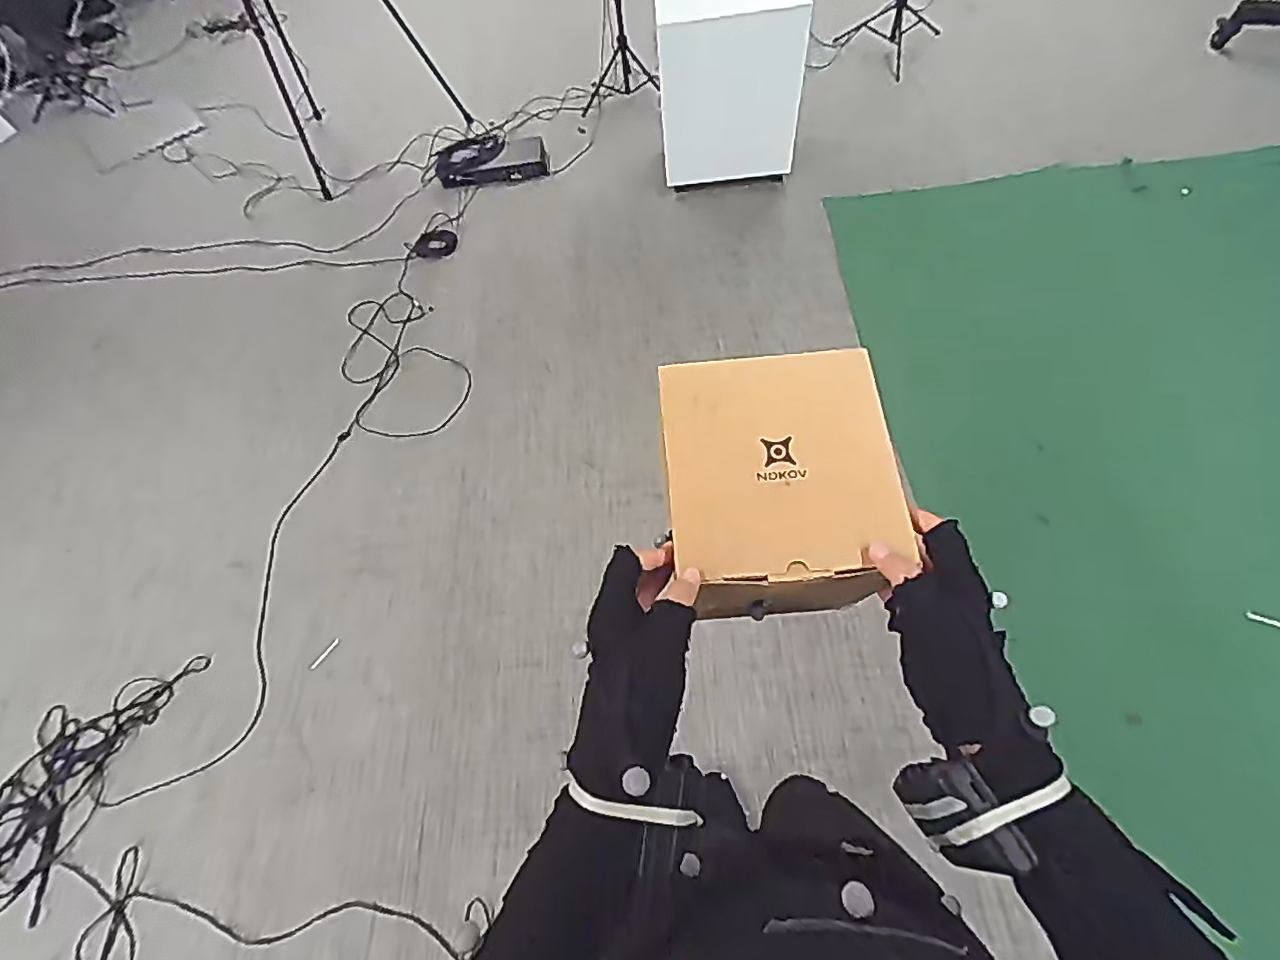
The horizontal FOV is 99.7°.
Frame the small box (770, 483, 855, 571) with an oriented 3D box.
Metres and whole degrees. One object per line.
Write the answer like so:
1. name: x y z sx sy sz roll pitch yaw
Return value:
1. small box: 0.447 0.131 1.427 0.168 0.176 0.179 -7 60 3
